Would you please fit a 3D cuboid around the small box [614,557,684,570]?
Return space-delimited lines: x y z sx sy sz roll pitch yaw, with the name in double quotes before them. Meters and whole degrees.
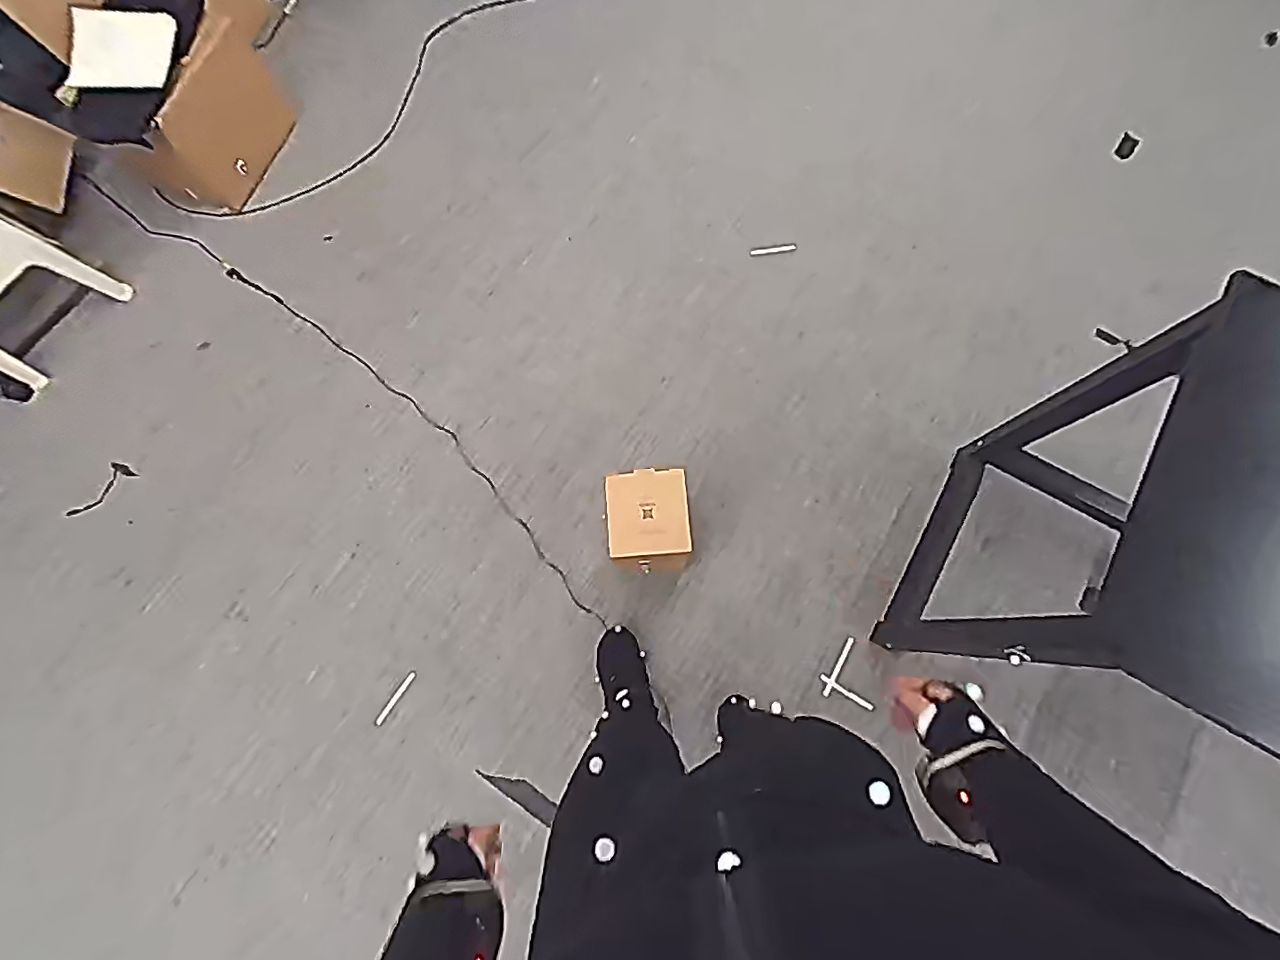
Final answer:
"small box" 0.024 0.129 1.334 0.168 0.176 0.179 0 74 0

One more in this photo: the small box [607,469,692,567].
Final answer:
"small box" 0.018 0.088 1.177 0.168 0.176 0.179 -5 75 1
